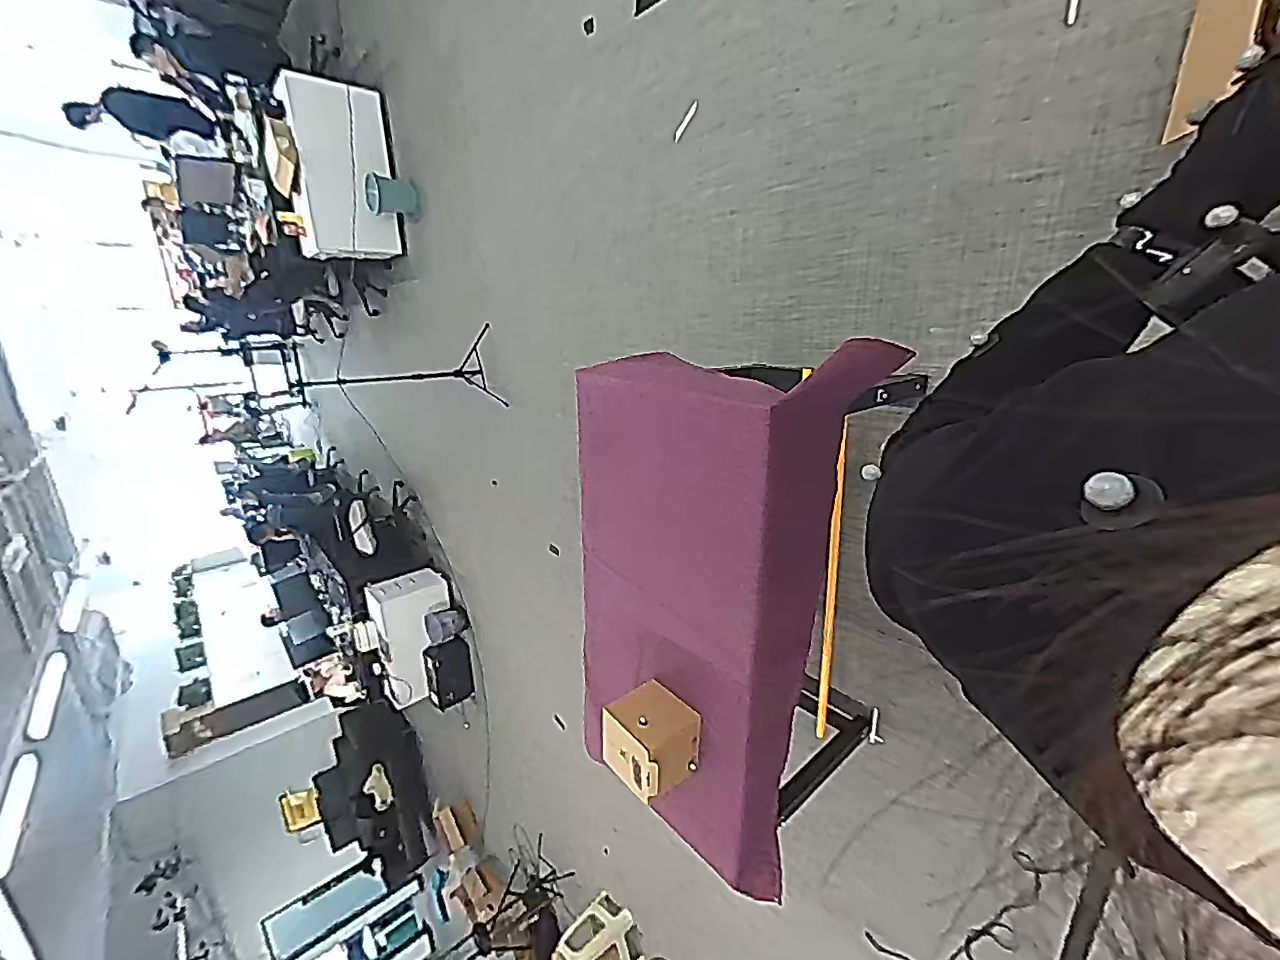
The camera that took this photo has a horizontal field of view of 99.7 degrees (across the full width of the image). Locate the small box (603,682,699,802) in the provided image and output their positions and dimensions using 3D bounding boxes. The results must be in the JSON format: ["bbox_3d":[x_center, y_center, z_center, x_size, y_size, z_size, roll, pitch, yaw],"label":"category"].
[{"bbox_3d":[0.026,0.629,1.325,0.179,0.176,0.168,22,118,46],"label":"small box"}]
